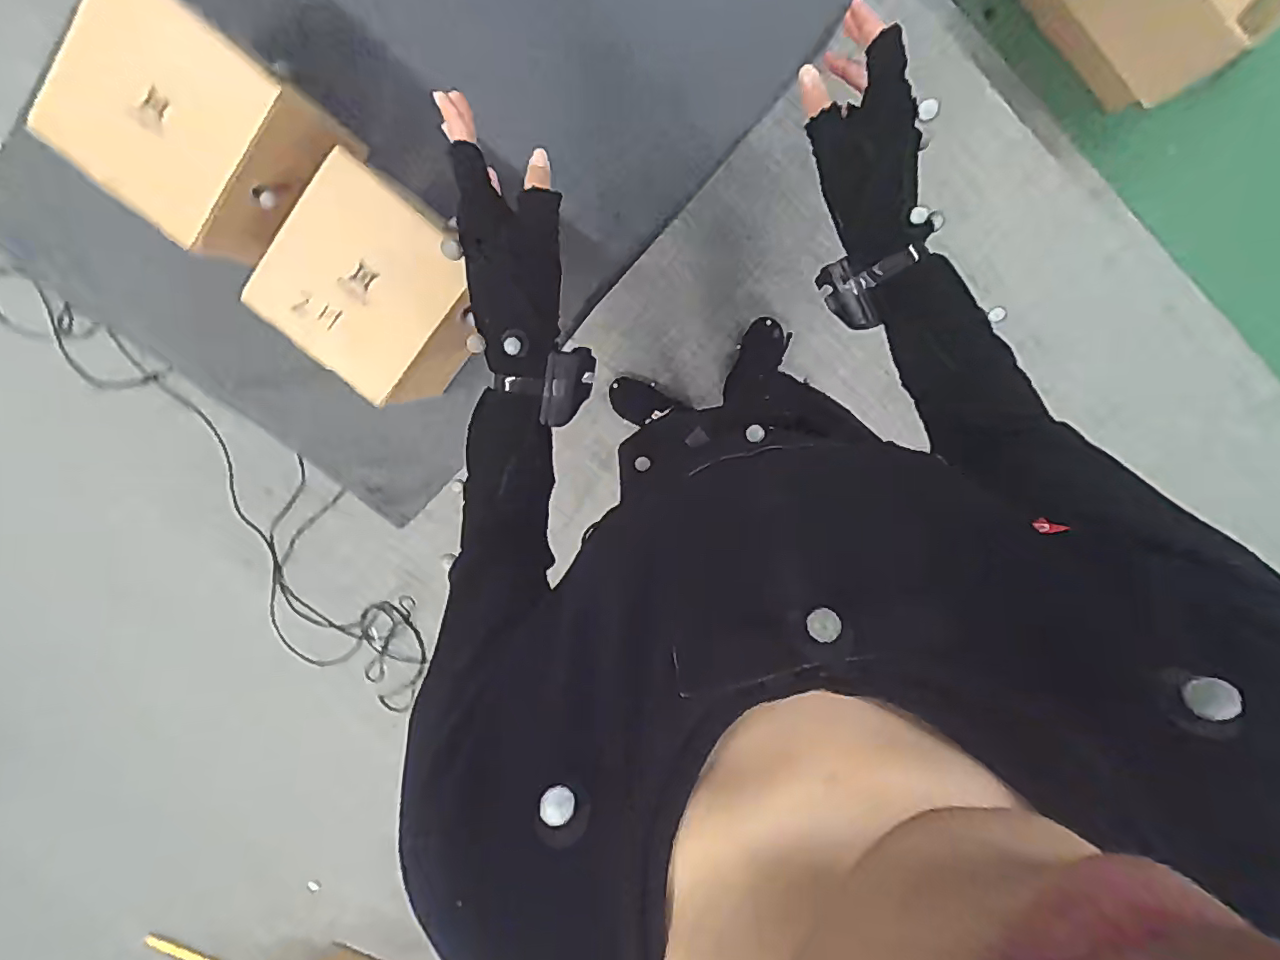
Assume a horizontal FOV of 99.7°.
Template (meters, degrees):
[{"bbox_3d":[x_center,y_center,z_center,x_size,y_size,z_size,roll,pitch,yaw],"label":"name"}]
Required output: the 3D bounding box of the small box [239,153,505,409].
[{"bbox_3d":[-0.269,-0.203,0.592,0.168,0.176,0.179,40,101,-7],"label":"small box"}]

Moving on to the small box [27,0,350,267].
[{"bbox_3d":[-0.437,-0.347,0.561,0.168,0.176,0.179,38,102,-9],"label":"small box"}]
